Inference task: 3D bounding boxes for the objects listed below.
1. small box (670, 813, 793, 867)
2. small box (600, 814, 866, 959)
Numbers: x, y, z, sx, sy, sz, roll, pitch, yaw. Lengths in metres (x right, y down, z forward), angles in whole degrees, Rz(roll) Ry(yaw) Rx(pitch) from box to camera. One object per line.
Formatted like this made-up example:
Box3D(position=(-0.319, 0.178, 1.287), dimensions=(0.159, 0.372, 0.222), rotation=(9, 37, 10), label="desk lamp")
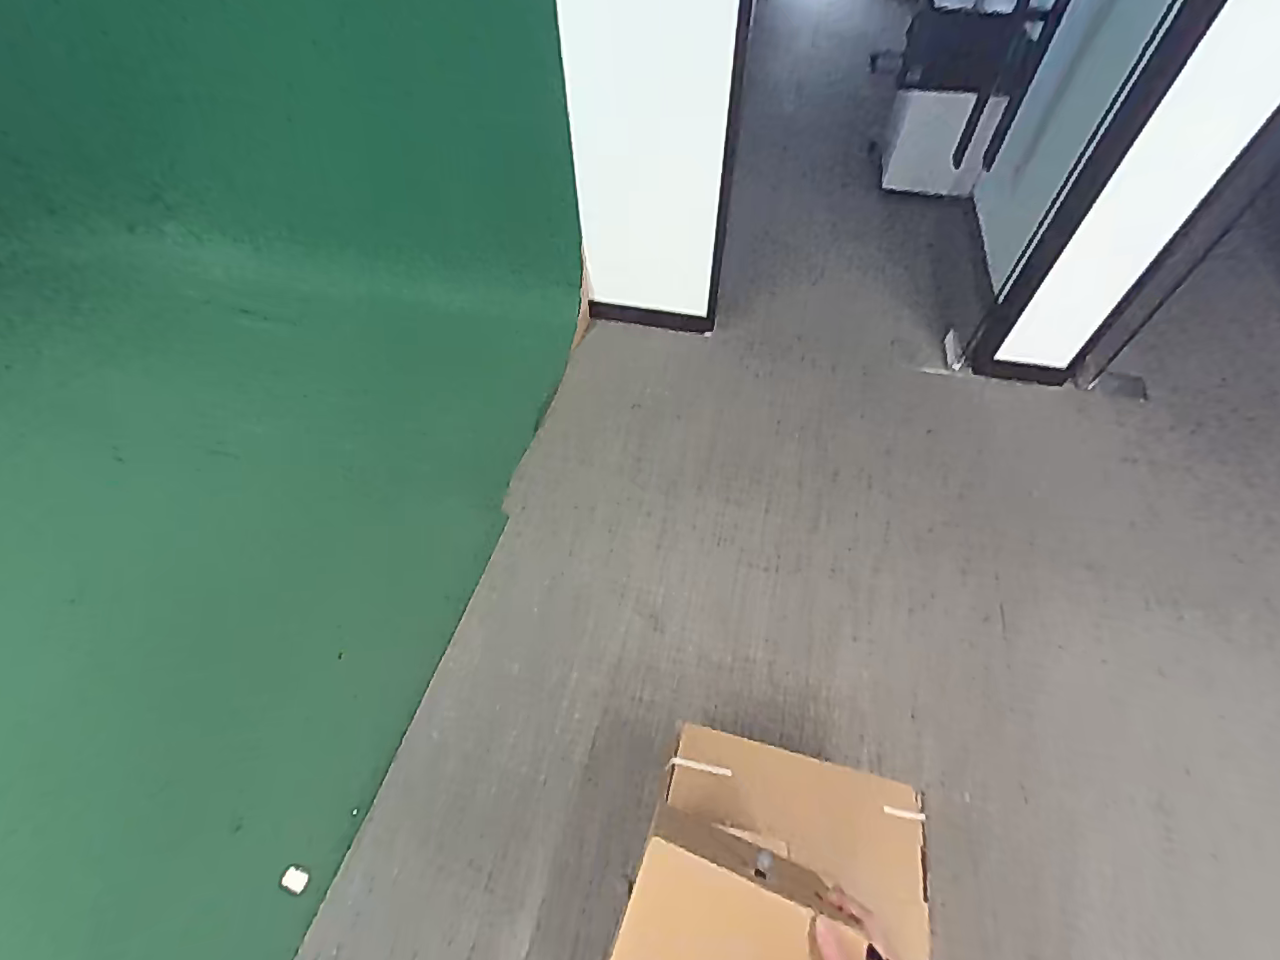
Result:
Box3D(position=(0.100, 0.579, 0.738), dimensions=(0.179, 0.176, 0.168), rotation=(9, 51, 9), label="small box")
Box3D(position=(0.060, 0.411, 0.459), dimensions=(0.179, 0.176, 0.168), rotation=(19, 71, 10), label="small box")
